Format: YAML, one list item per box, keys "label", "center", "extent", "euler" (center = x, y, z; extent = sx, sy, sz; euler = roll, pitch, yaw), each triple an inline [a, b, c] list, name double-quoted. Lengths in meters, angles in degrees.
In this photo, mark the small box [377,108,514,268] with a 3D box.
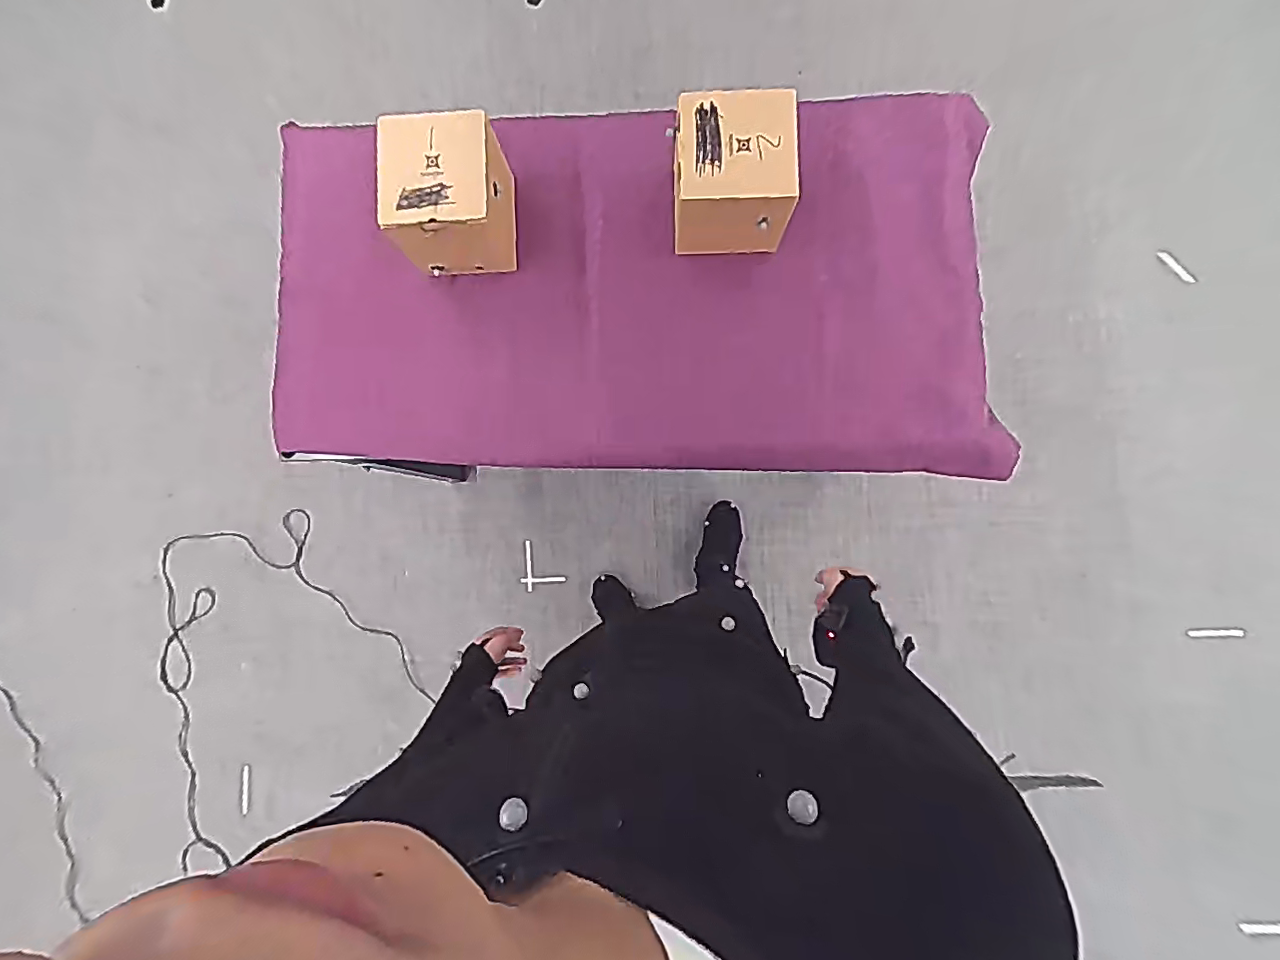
- label: "small box"
  center: [-0.307, -0.461, 0.884]
  extent: [0.168, 0.176, 0.179]
  euler: [-3, 86, 2]
